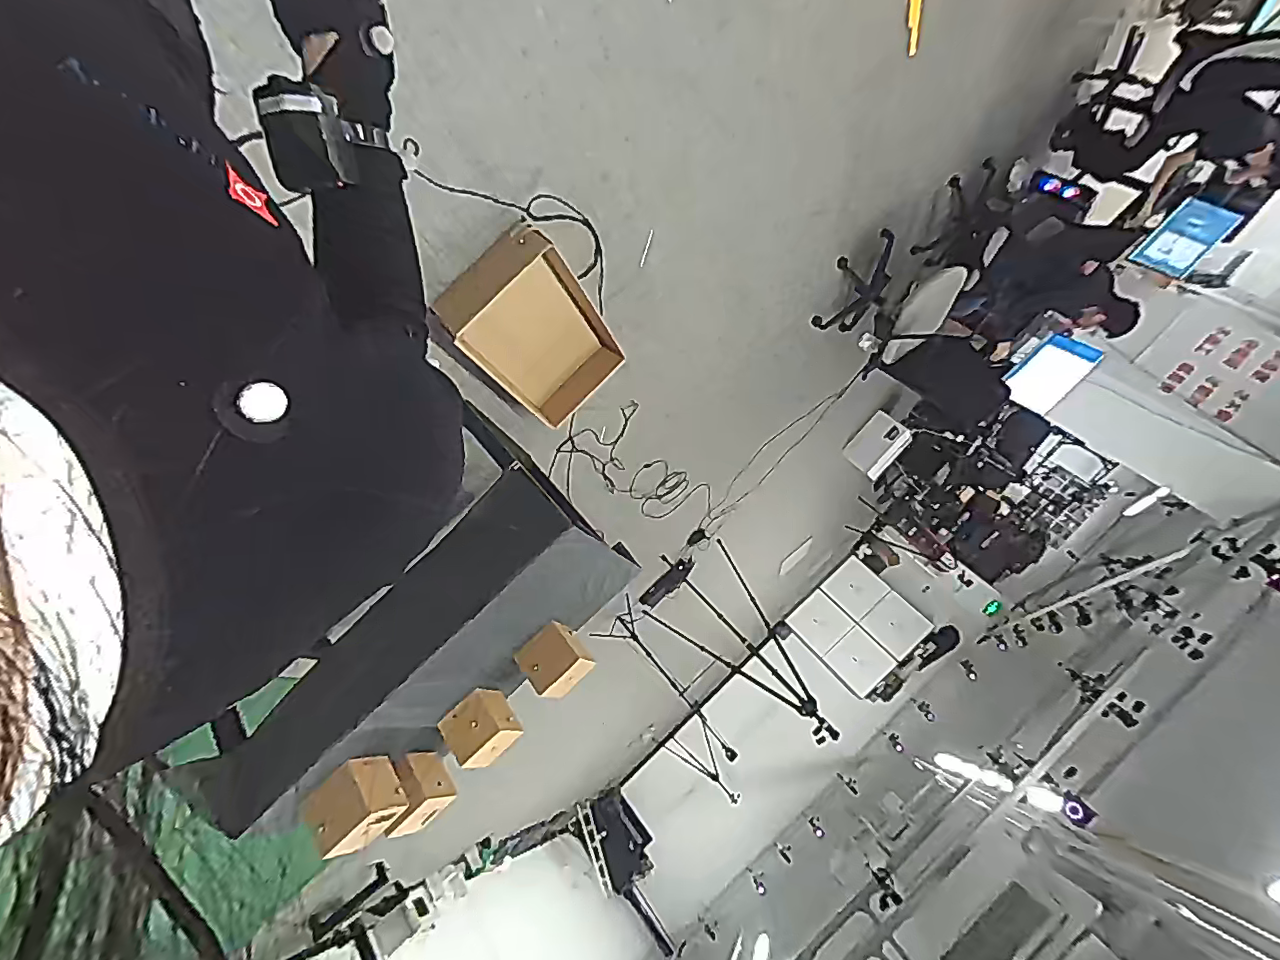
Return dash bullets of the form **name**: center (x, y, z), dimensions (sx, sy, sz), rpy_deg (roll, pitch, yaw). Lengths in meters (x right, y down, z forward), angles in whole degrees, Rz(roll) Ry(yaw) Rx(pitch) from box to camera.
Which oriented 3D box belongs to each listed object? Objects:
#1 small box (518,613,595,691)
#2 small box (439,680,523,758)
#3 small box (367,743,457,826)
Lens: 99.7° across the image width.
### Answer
- **small box**: center (-0.284, 0.577, 1.811), dimensions (0.179, 0.176, 0.168), rpy_deg (-41, 152, -5)
- **small box**: center (-0.524, 0.783, 1.777), dimensions (0.168, 0.176, 0.179), rpy_deg (-41, 152, -6)
- **small box**: center (-0.737, 0.977, 1.751), dimensions (0.168, 0.176, 0.179), rpy_deg (-42, 151, -6)
